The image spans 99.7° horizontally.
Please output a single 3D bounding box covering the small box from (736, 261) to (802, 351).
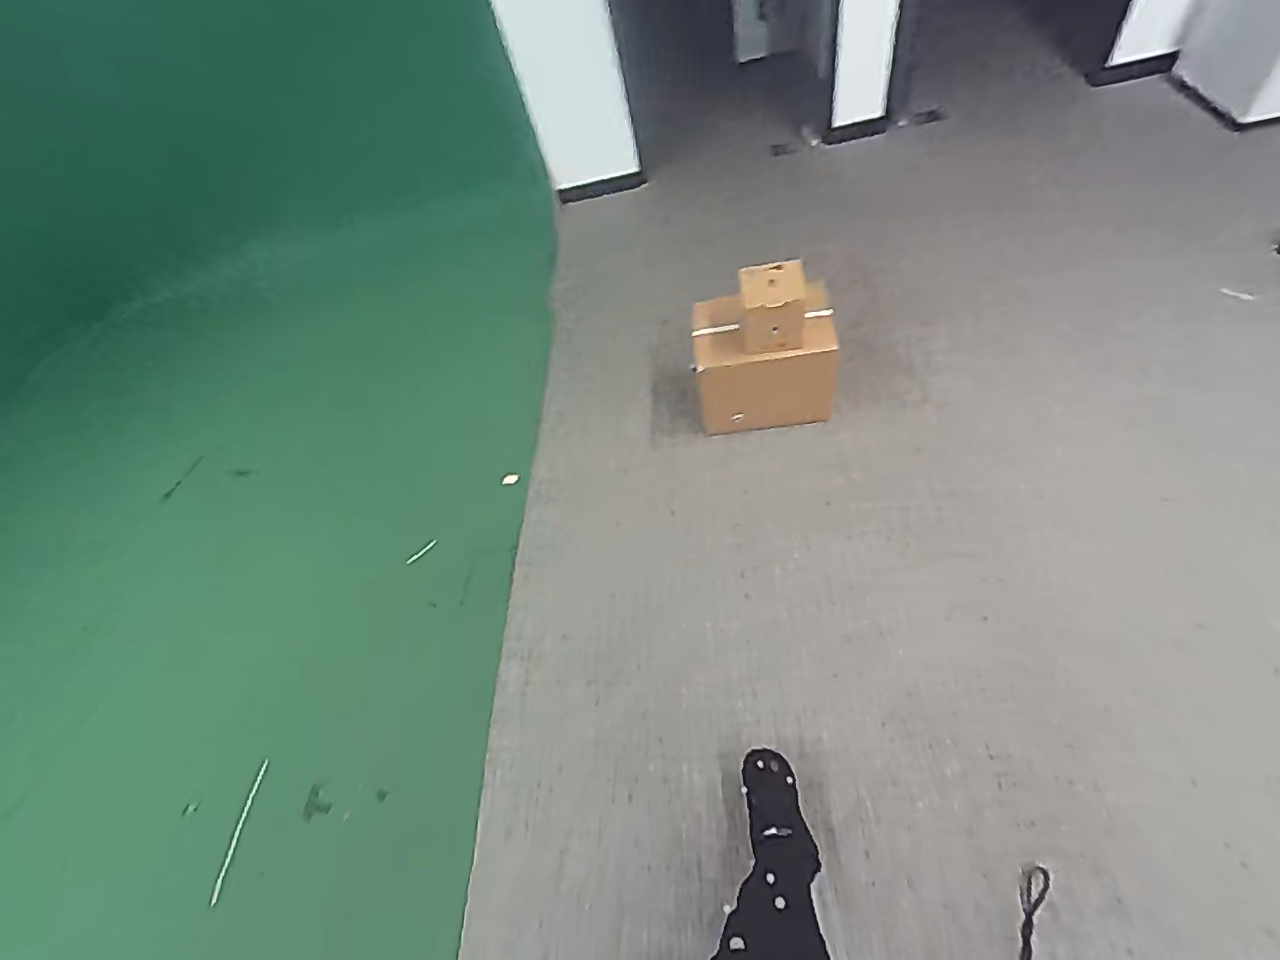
[{"bbox_3d":[0.363,-0.480,1.523,0.168,0.176,0.179,-4,56,11],"label":"small box"}]
